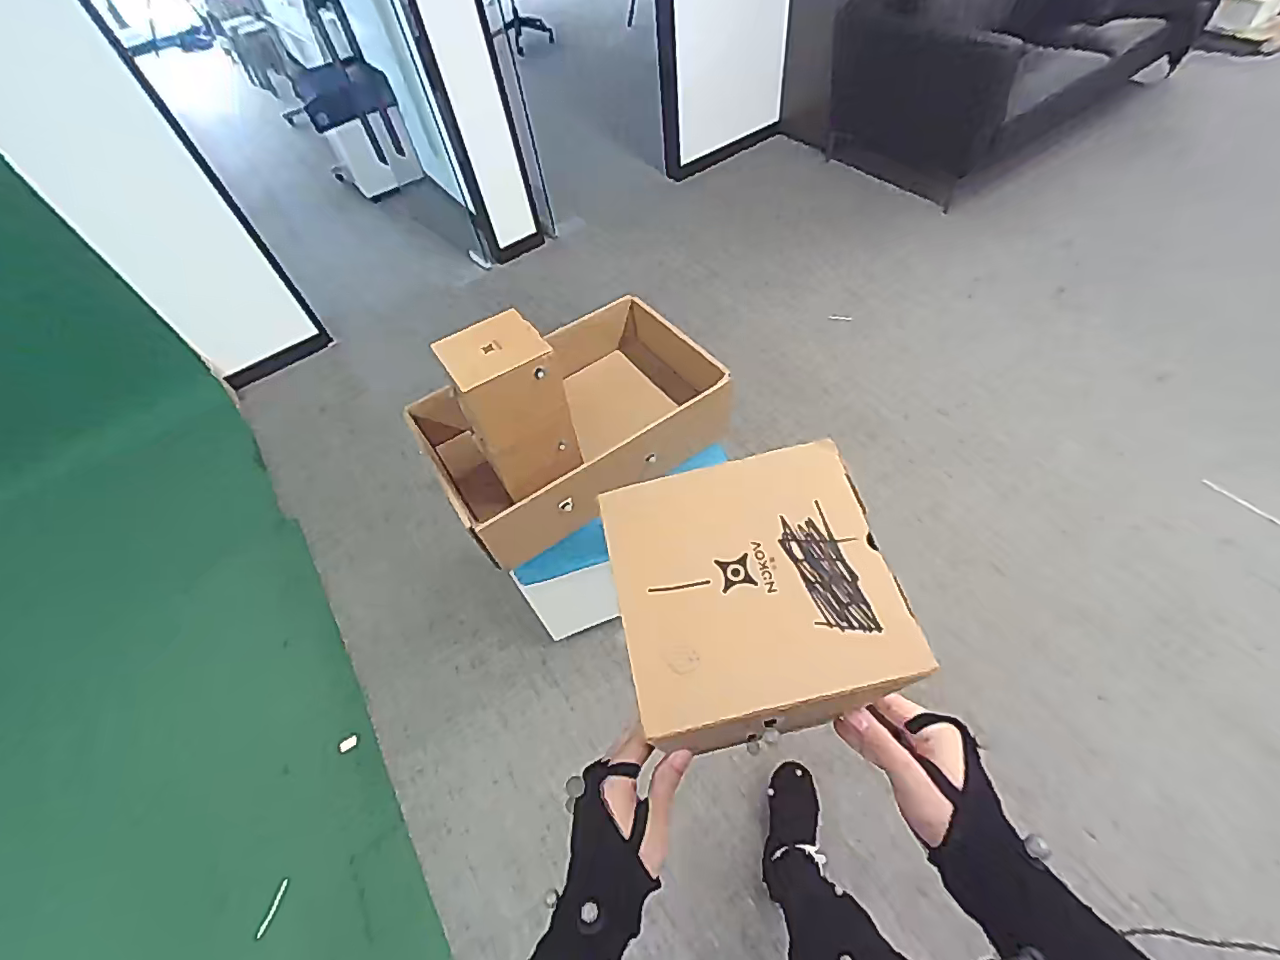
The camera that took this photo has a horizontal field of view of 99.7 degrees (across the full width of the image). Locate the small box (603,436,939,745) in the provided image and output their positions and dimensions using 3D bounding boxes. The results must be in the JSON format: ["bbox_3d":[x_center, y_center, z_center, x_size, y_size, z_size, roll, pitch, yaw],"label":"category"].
[{"bbox_3d":[0.081,0.094,0.413,0.179,0.176,0.168,-13,59,1],"label":"small box"}]

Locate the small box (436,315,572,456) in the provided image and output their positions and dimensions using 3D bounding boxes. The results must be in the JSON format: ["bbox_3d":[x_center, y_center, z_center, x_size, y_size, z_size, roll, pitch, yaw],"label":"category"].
[{"bbox_3d":[-0.251,-0.176,1.028,0.179,0.176,0.168,-30,54,-17],"label":"small box"}]
